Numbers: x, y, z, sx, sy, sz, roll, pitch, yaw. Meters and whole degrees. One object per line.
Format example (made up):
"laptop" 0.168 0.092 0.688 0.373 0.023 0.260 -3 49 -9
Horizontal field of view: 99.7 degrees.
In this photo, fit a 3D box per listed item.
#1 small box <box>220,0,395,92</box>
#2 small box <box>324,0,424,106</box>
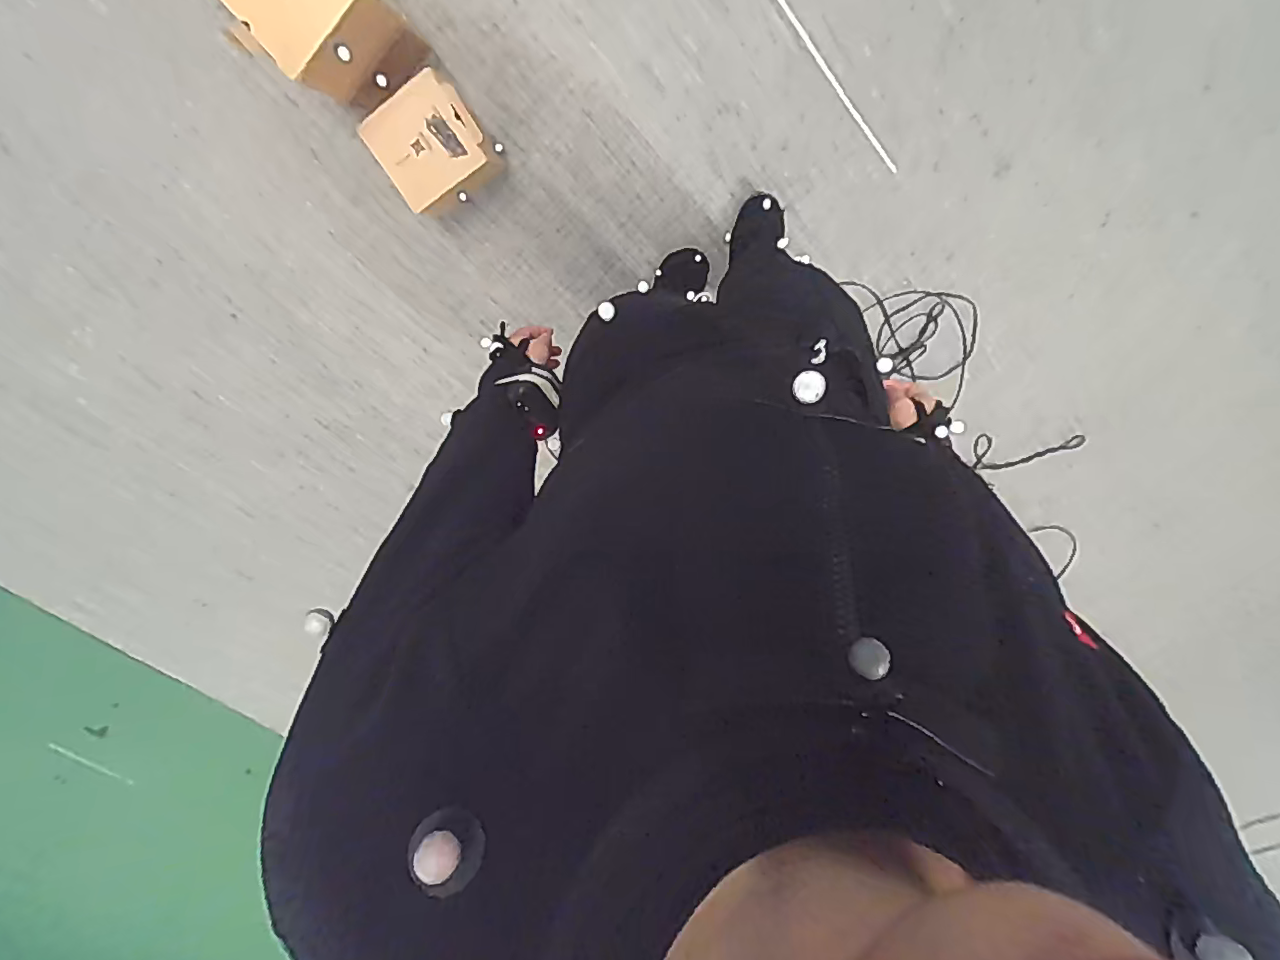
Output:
"small box" -0.498 -0.730 0.808 0.179 0.176 0.168 -37 112 17
"small box" -0.517 -0.804 0.953 0.179 0.176 0.168 -36 111 17
